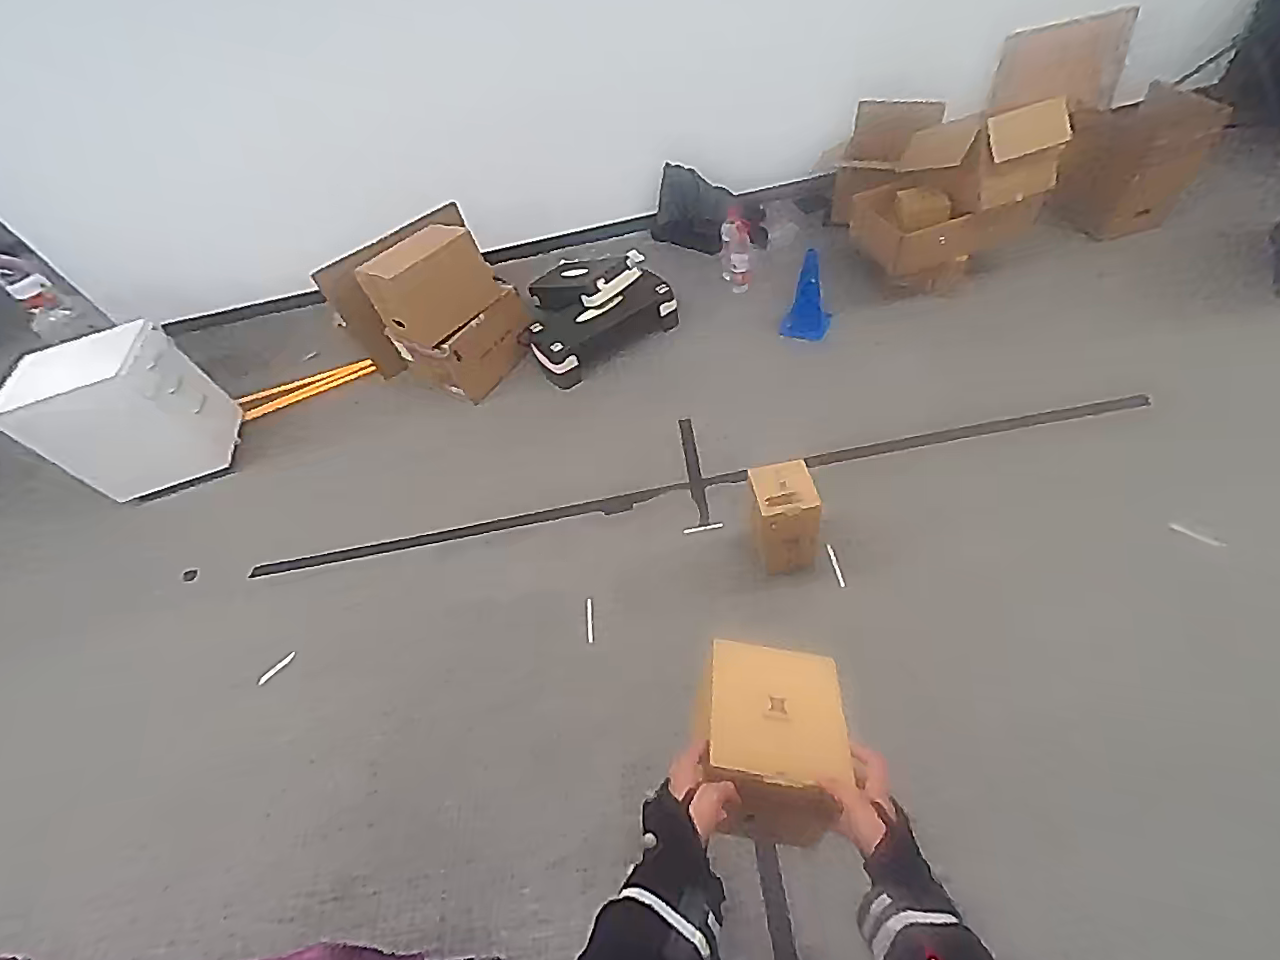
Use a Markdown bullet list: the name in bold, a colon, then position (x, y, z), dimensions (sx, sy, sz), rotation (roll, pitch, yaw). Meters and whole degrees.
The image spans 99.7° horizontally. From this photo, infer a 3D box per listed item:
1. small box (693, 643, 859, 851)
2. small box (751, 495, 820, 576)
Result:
- **small box**: position (0.165, 0.348, 0.711), dimensions (0.168, 0.176, 0.179), rotation (9, 39, 3)
- **small box**: position (0.453, 0.179, 1.712), dimensions (0.168, 0.176, 0.179), rotation (-13, 52, 2)
